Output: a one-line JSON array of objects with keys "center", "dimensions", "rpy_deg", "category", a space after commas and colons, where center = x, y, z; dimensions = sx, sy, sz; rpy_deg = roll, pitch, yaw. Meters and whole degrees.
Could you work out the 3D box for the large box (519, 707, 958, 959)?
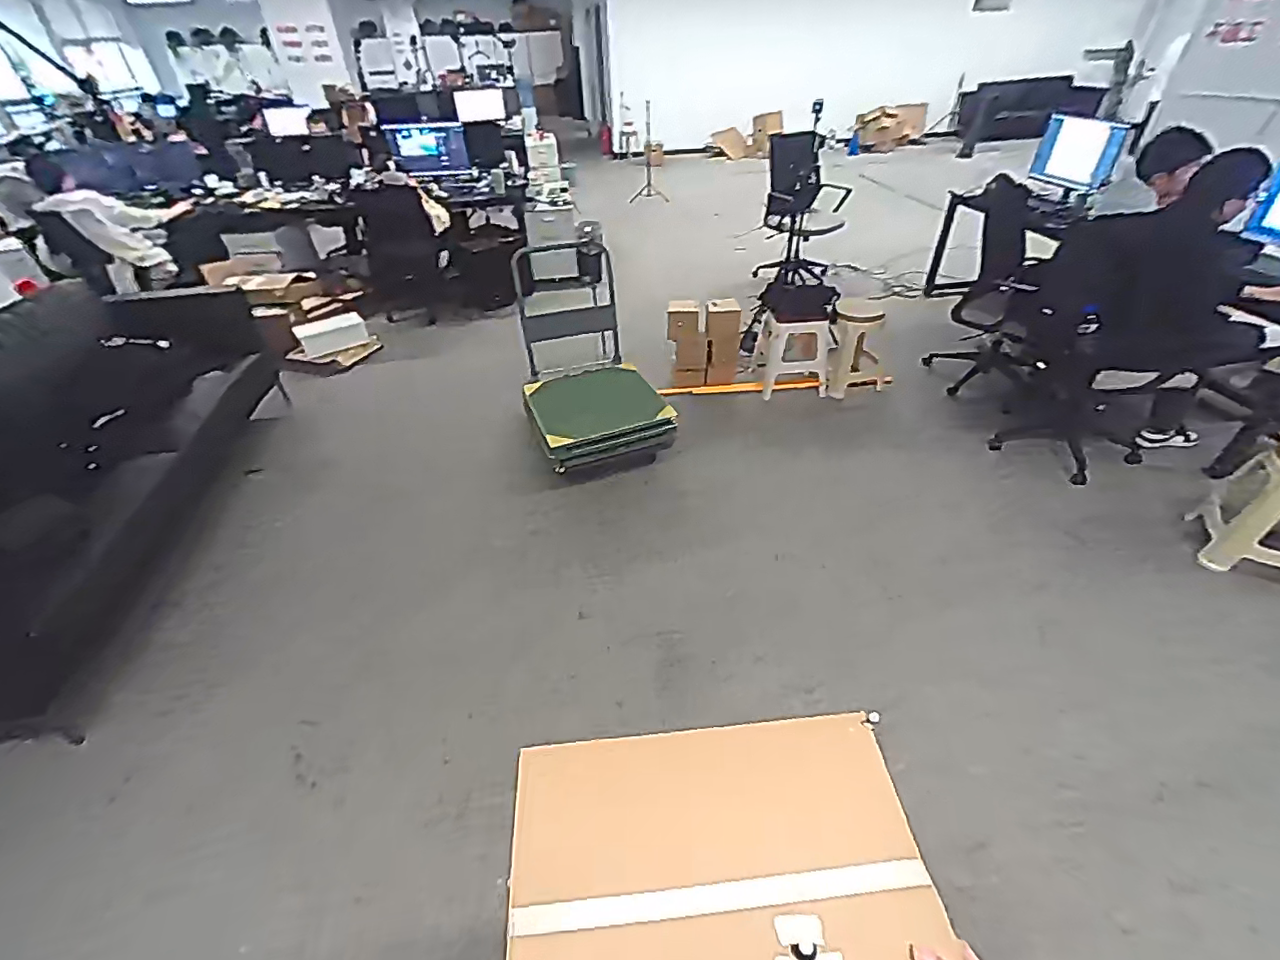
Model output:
[{"center": [0.085, 0.504, 0.632], "dimensions": [0.408, 0.320, 0.320], "rpy_deg": [-5, 46, -3], "category": "large box"}]
